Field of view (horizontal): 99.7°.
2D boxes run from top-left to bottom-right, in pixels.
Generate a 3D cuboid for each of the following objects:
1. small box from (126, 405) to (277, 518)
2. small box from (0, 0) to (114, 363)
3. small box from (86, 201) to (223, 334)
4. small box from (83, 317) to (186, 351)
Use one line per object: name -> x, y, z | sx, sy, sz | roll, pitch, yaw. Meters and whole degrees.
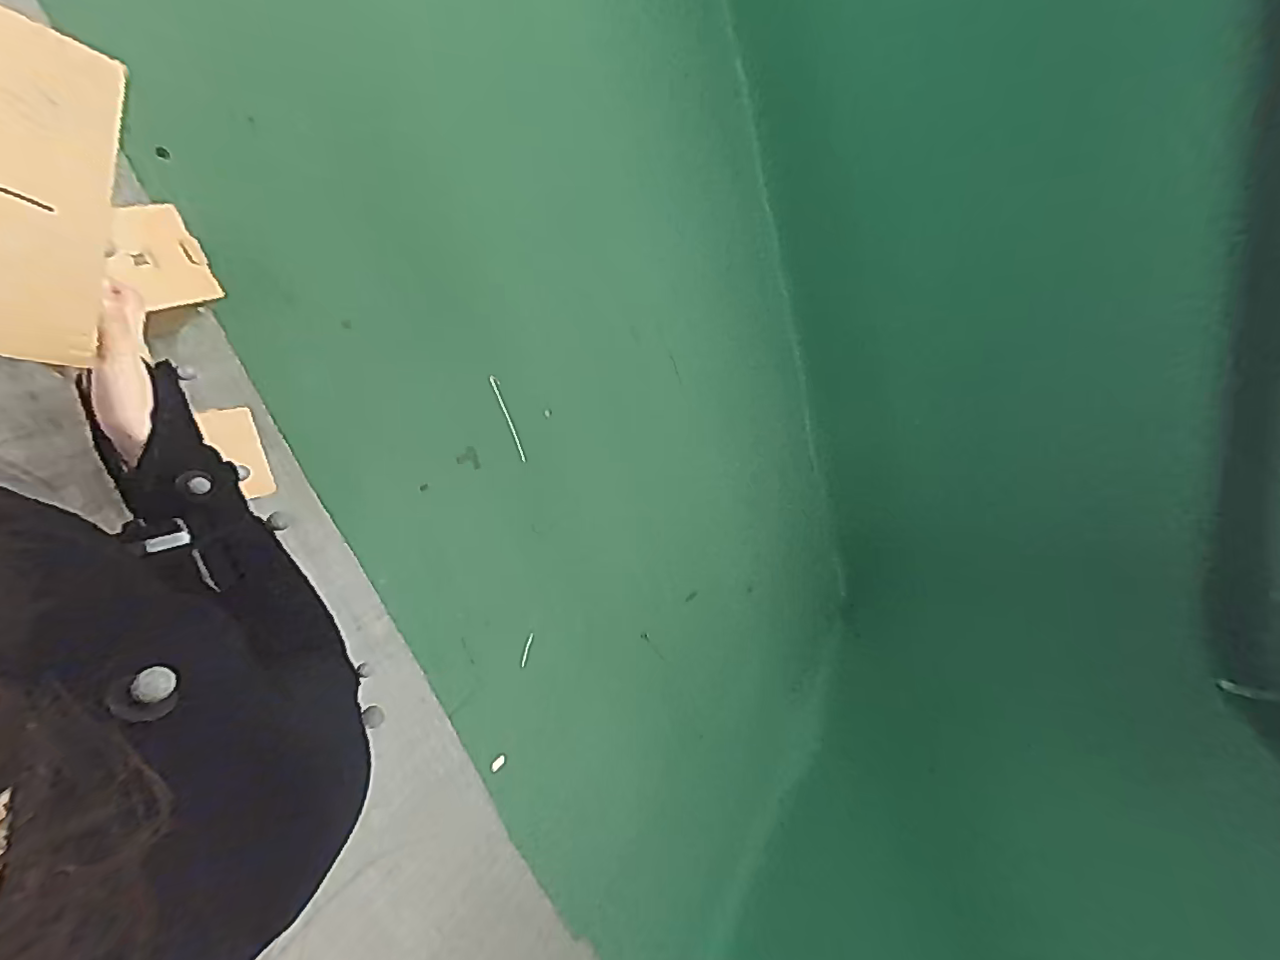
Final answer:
small box -> -0.832, -0.036, 1.024 | 0.168, 0.176, 0.179 | -24, 108, -47
small box -> -0.399, -0.163, 0.263 | 0.179, 0.176, 0.168 | 4, 101, -53
small box -> -0.897, -0.371, 0.955 | 0.179, 0.176, 0.168 | -40, 119, -45
small box -> -1.026, -0.365, 1.055 | 0.179, 0.176, 0.168 | -41, 119, -42
